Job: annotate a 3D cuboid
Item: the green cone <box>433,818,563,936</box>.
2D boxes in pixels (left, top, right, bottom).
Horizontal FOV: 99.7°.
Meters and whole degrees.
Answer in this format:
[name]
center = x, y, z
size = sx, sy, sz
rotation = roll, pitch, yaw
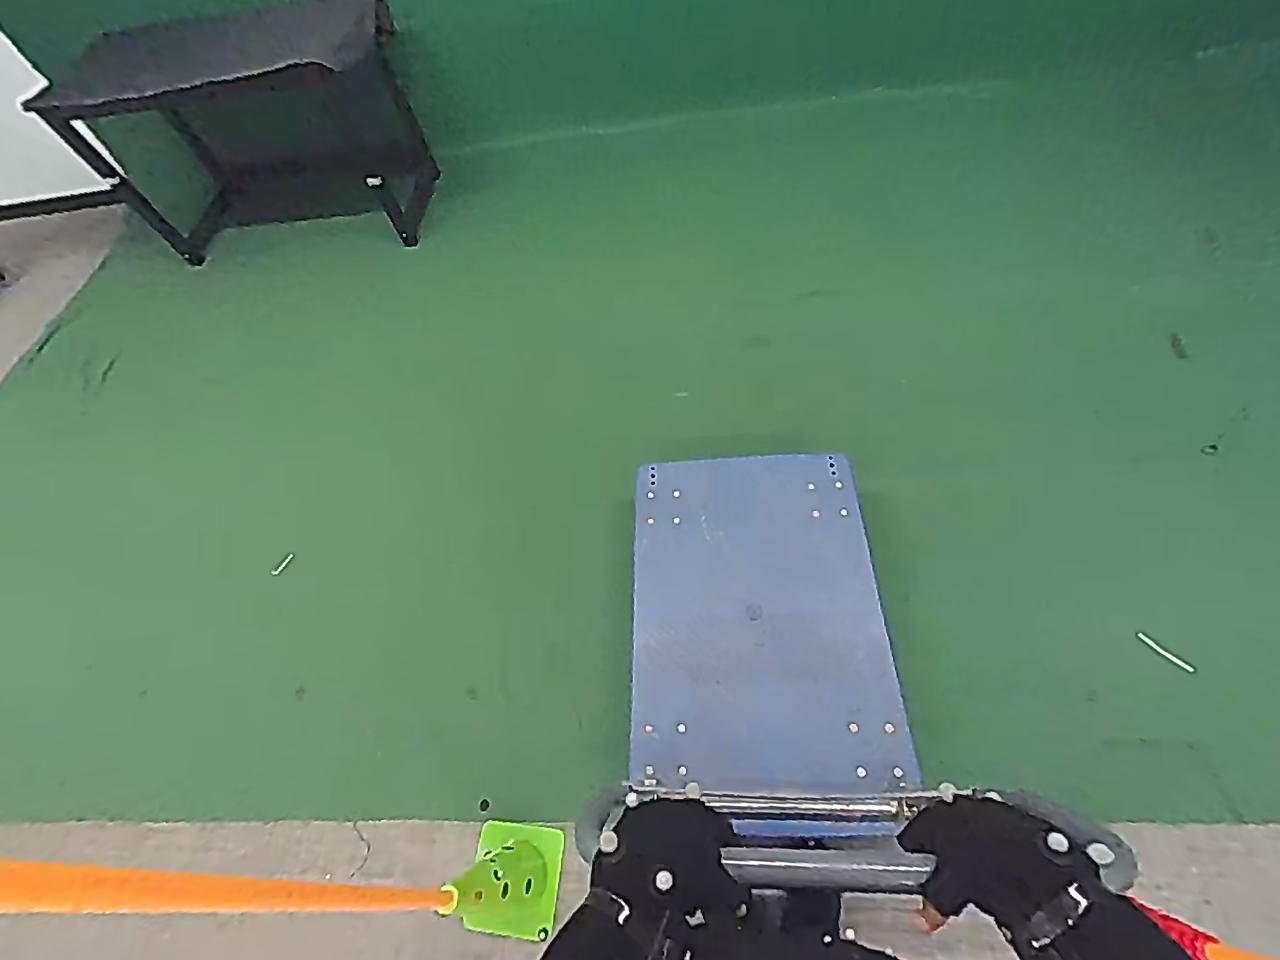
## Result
[green cone]
center = -0.302, 0.791, 1.066
size = 0.202, 0.368, 0.200
rotation = 0, 58, 10
